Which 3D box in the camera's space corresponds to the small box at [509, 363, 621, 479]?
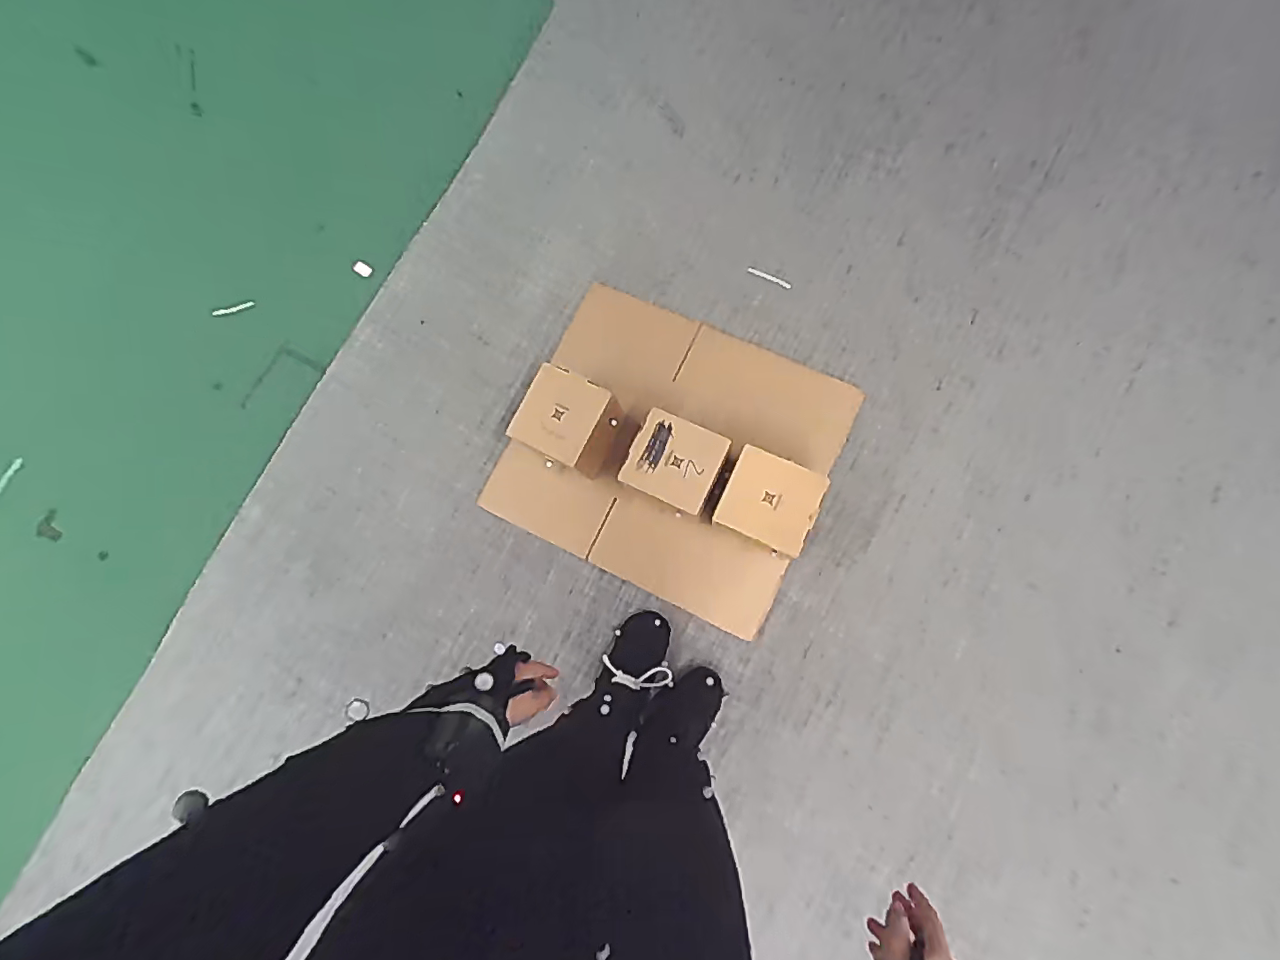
[{"bbox_3d":[-0.152,-0.120,1.177,0.168,0.176,0.179,26,85,11],"label":"small box"}]
